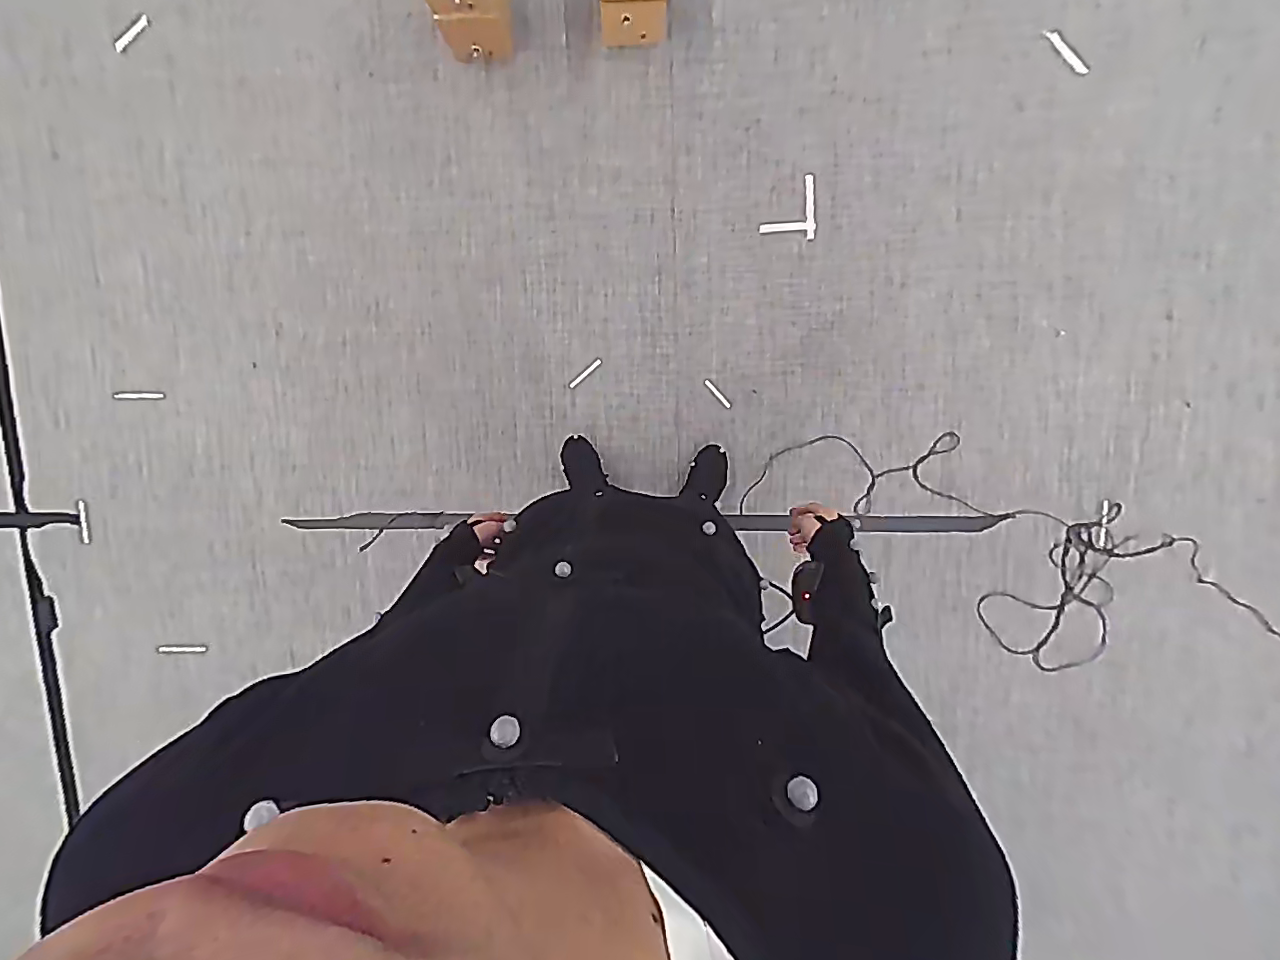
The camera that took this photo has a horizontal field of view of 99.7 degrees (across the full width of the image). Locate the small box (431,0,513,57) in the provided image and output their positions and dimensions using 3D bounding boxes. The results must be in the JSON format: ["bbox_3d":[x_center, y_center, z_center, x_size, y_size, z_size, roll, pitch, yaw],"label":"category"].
[{"bbox_3d":[-0.436,-1.259,1.417,0.168,0.176,0.179,-1,96,3],"label":"small box"}]

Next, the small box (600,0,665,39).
[{"bbox_3d":[-0.018,-1.289,1.404,0.168,0.176,0.179,-2,95,1],"label":"small box"}]

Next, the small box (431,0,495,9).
[{"bbox_3d":[-0.442,-1.250,1.253,0.168,0.176,0.179,-1,97,3],"label":"small box"}]
